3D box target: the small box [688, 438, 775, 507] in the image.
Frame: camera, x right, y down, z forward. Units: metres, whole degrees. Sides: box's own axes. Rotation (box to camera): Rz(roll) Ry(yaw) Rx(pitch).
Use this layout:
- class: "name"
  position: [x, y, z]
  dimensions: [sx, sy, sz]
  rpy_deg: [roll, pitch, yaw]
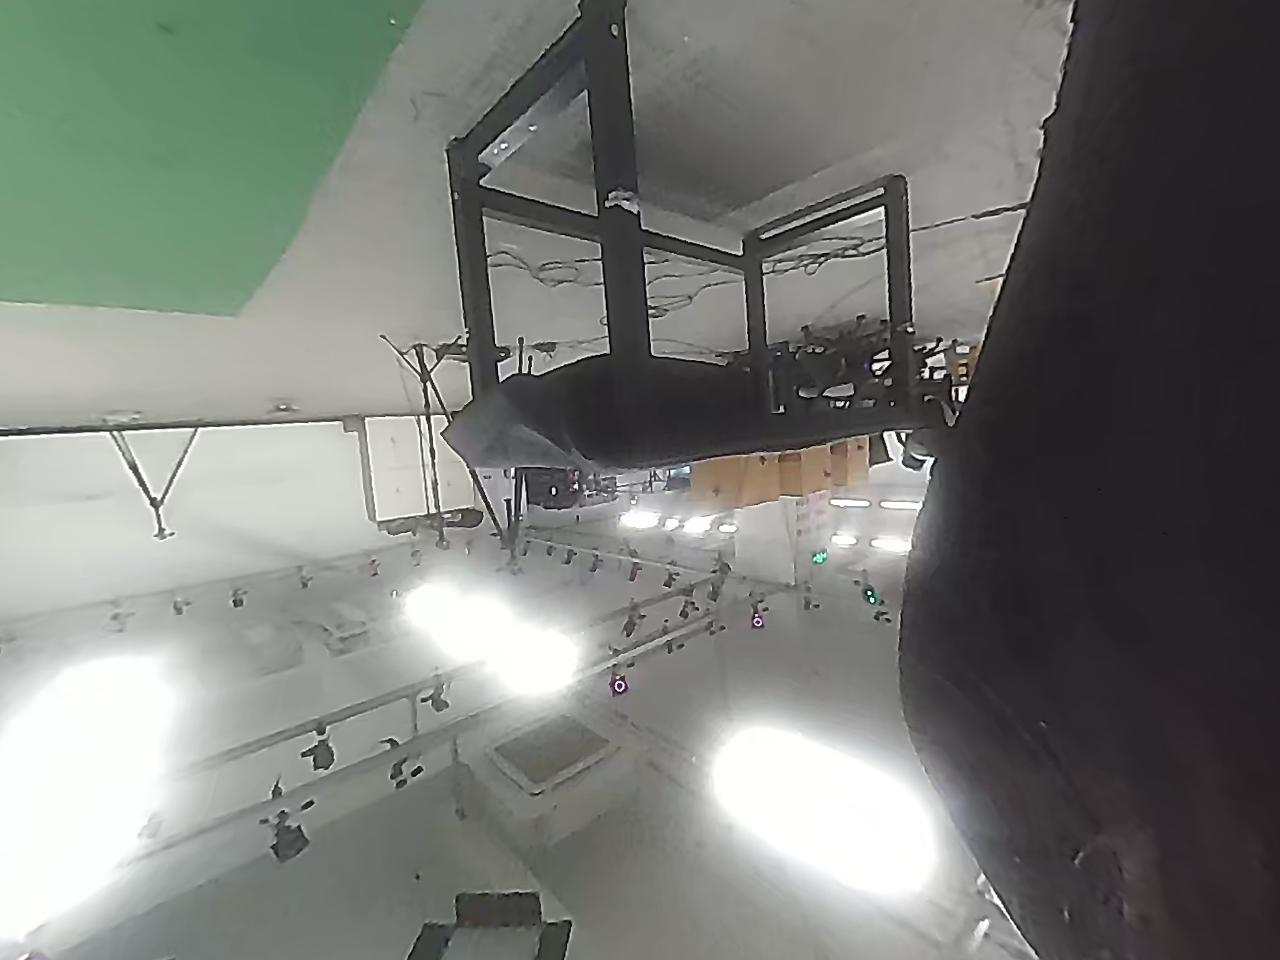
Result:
- class: "small box"
  position: [0.244, -0.026, 1.446]
  dimensions: [0.168, 0.176, 0.179]
  rpy_deg: [-8, -174, -41]

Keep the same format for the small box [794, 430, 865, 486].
- class: "small box"
  position: [0.625, -0.077, 1.778]
  dimensions: [0.179, 0.176, 0.168]
  rpy_deg: [3, -172, 45]
